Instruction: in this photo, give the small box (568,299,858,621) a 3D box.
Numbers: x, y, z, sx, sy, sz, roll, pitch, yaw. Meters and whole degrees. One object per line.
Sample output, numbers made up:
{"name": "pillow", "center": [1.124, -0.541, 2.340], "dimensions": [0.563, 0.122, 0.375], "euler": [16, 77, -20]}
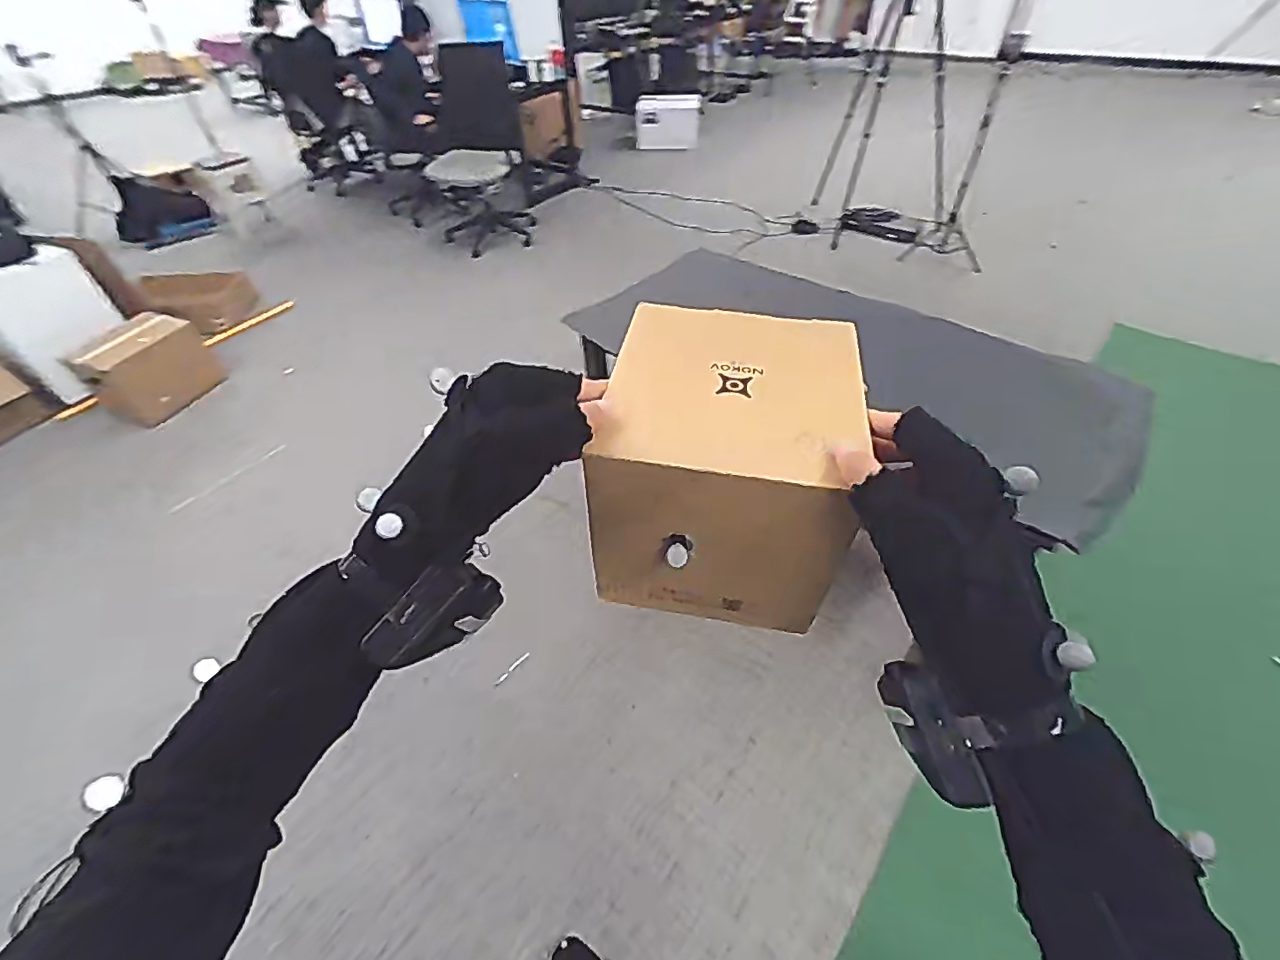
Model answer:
{"name": "small box", "center": [0.054, -0.014, 0.413], "dimensions": [0.168, 0.176, 0.179], "euler": [7, 47, 7]}
